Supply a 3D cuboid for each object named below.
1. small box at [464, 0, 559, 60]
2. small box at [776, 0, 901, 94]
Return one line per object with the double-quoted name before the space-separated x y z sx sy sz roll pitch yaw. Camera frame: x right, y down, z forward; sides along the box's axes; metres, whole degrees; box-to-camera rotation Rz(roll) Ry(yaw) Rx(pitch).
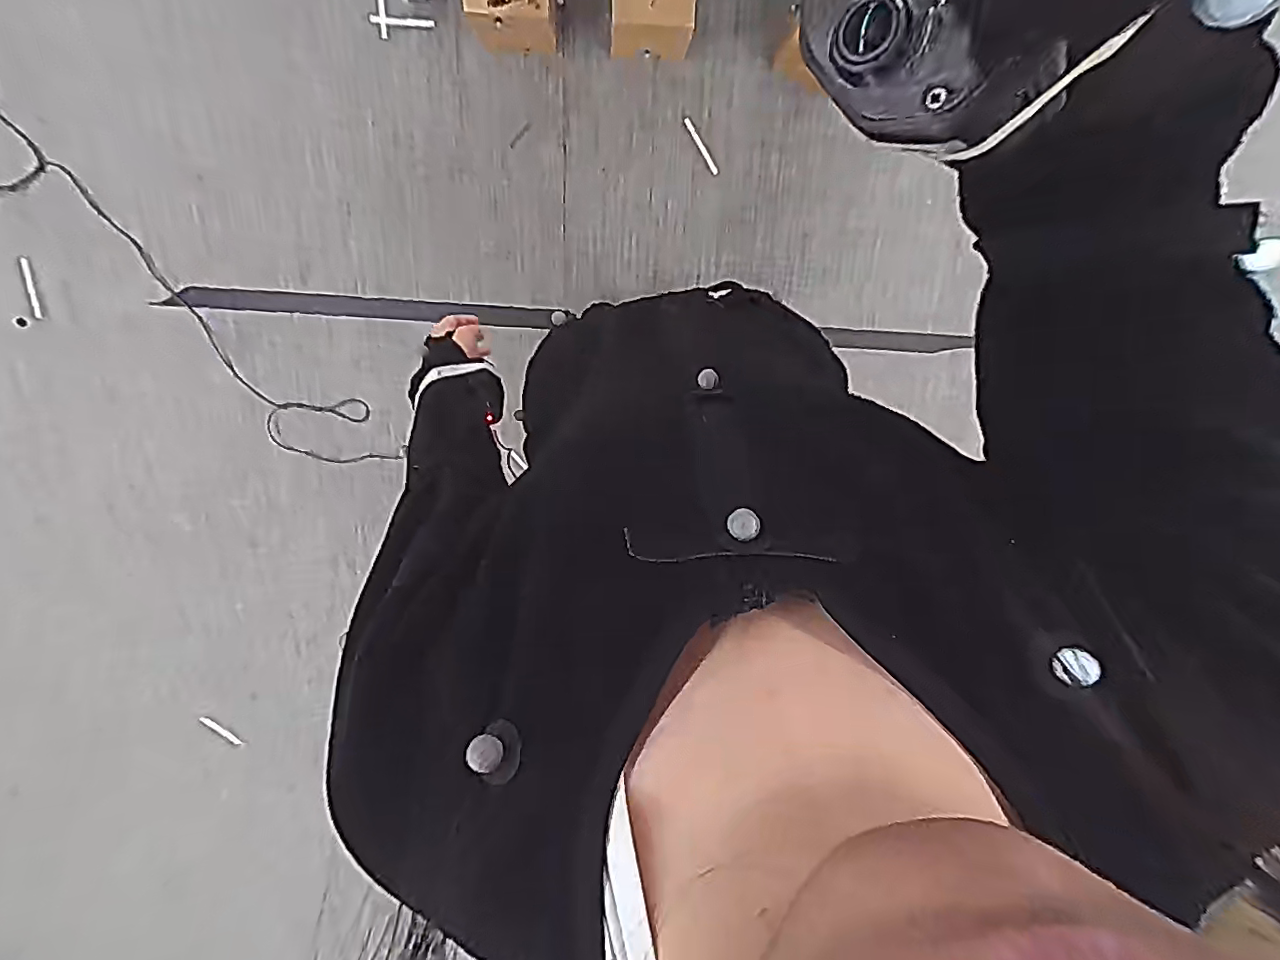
"small box" -0.255 -1.001 1.096 0.168 0.176 0.179 3 106 -4
"small box" 0.416 -0.960 1.148 0.179 0.176 0.168 18 106 -7
